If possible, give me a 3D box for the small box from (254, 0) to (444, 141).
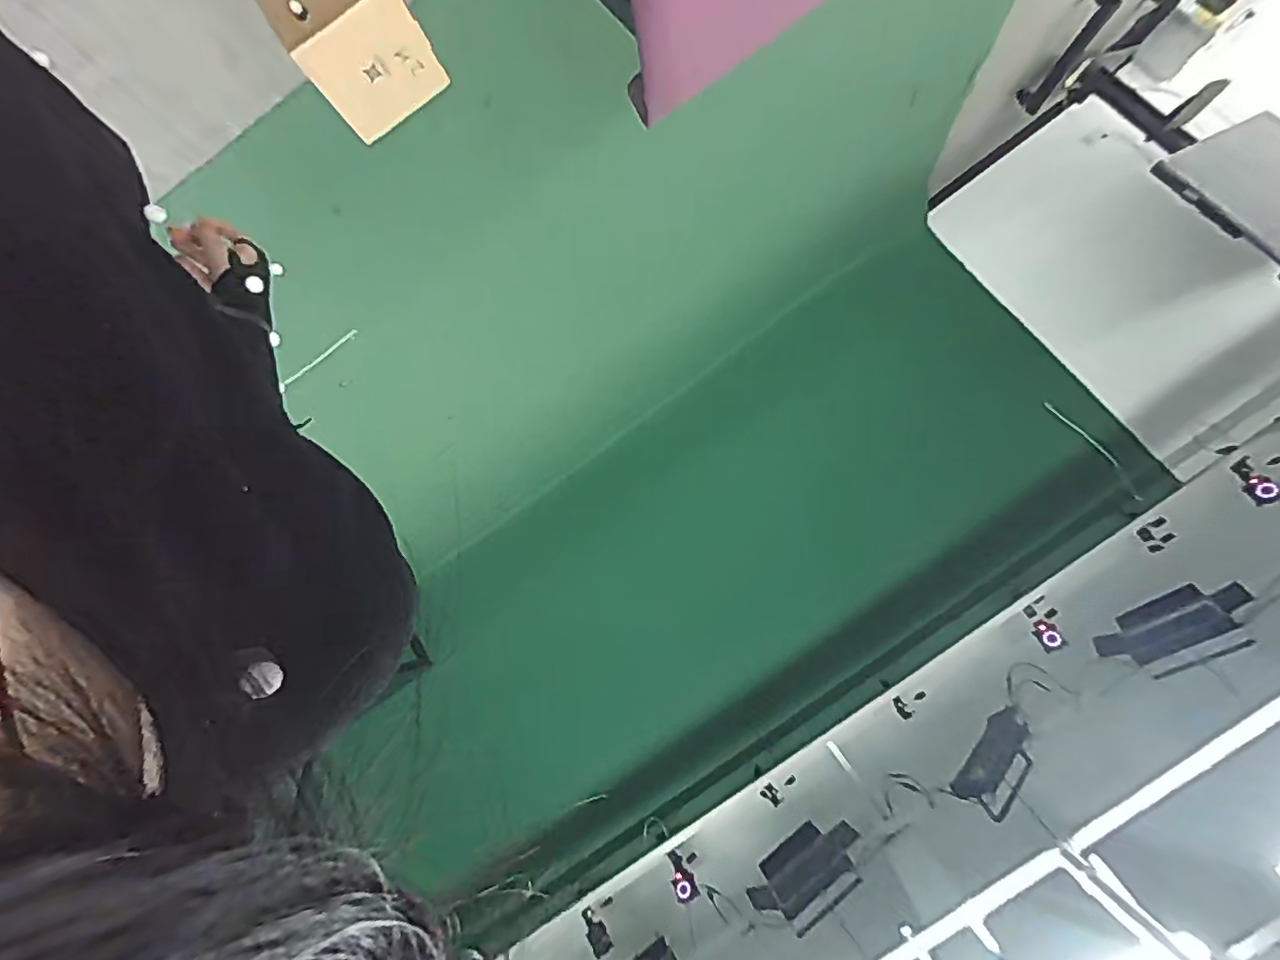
[{"bbox_3d":[-0.441,-0.676,0.817,0.179,0.176,0.168,-35,168,2],"label":"small box"}]
